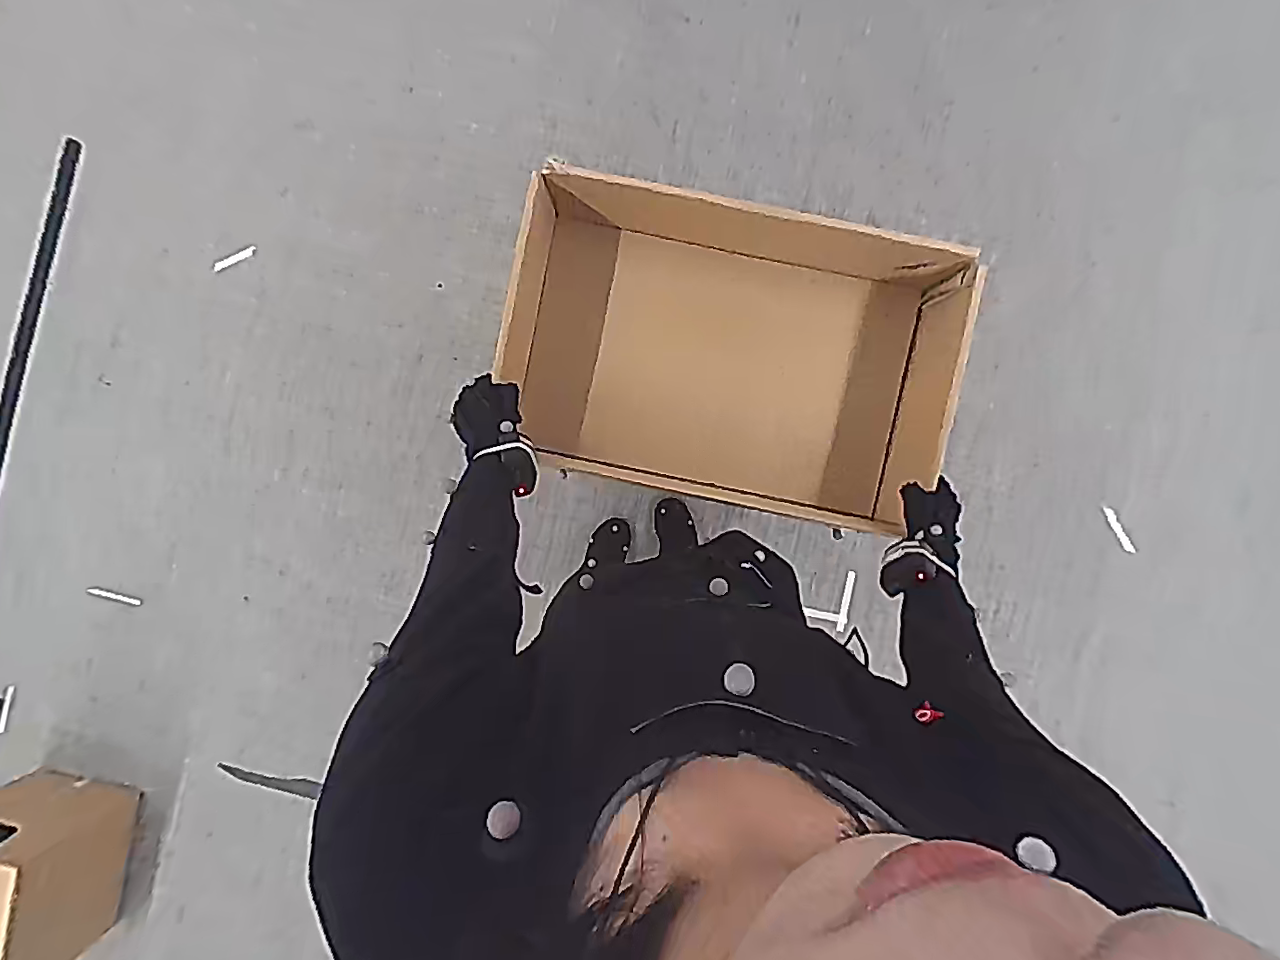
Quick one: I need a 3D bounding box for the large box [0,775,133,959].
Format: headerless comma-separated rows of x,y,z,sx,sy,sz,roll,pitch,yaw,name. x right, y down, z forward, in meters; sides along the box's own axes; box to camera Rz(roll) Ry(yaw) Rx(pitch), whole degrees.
-1.600,1.048,1.372,0.320,0.320,0.408,10,89,-1,large box
